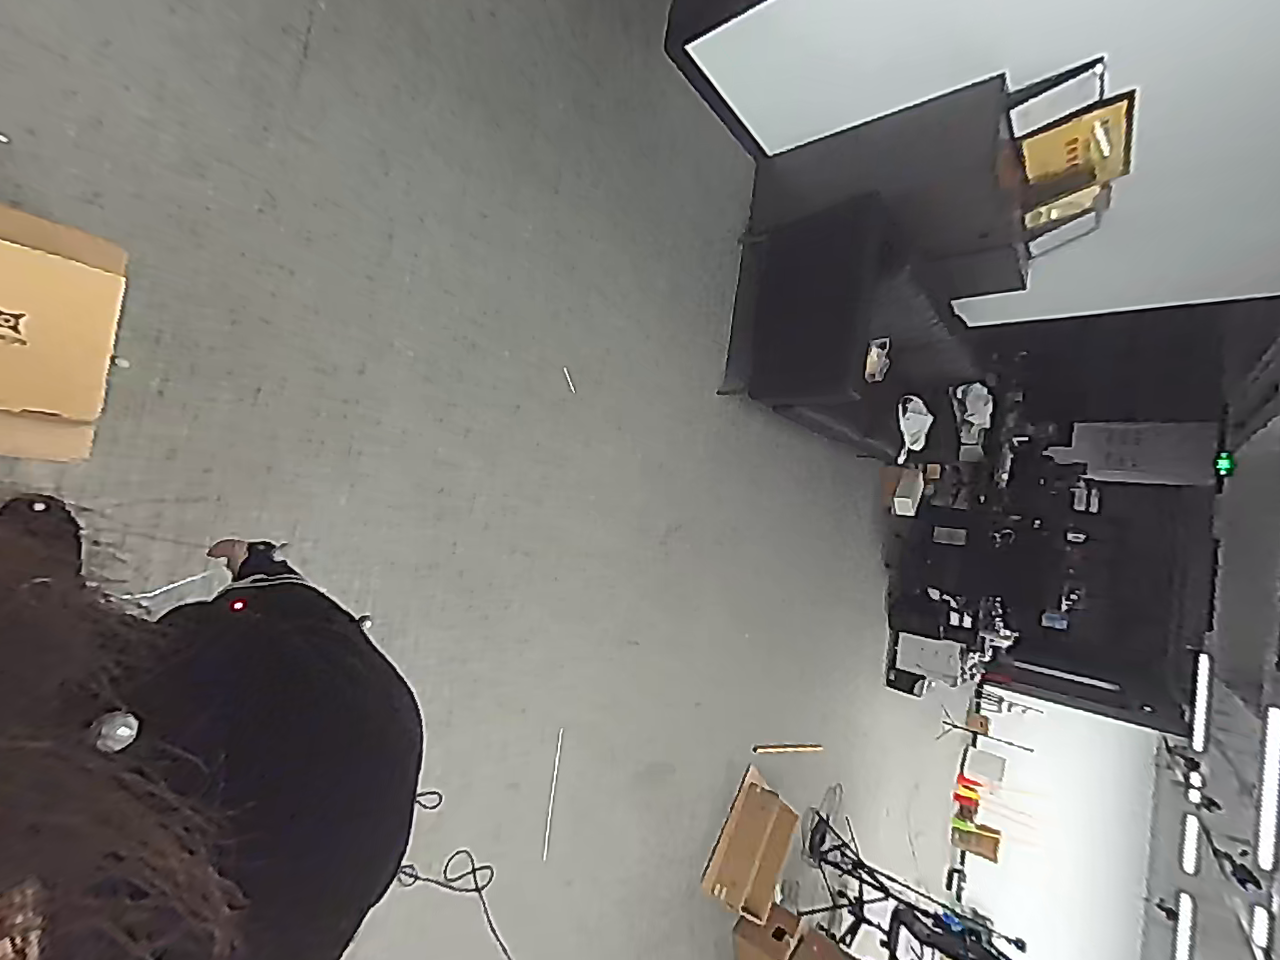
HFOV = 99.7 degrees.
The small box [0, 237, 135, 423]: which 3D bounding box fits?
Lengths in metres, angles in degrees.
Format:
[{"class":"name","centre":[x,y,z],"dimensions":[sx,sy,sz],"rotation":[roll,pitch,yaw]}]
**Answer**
[{"class":"small box","centre":[-0.718,-0.167,0.623],"dimensions":[0.168,0.176,0.179],"rotation":[11,86,-48]}]
